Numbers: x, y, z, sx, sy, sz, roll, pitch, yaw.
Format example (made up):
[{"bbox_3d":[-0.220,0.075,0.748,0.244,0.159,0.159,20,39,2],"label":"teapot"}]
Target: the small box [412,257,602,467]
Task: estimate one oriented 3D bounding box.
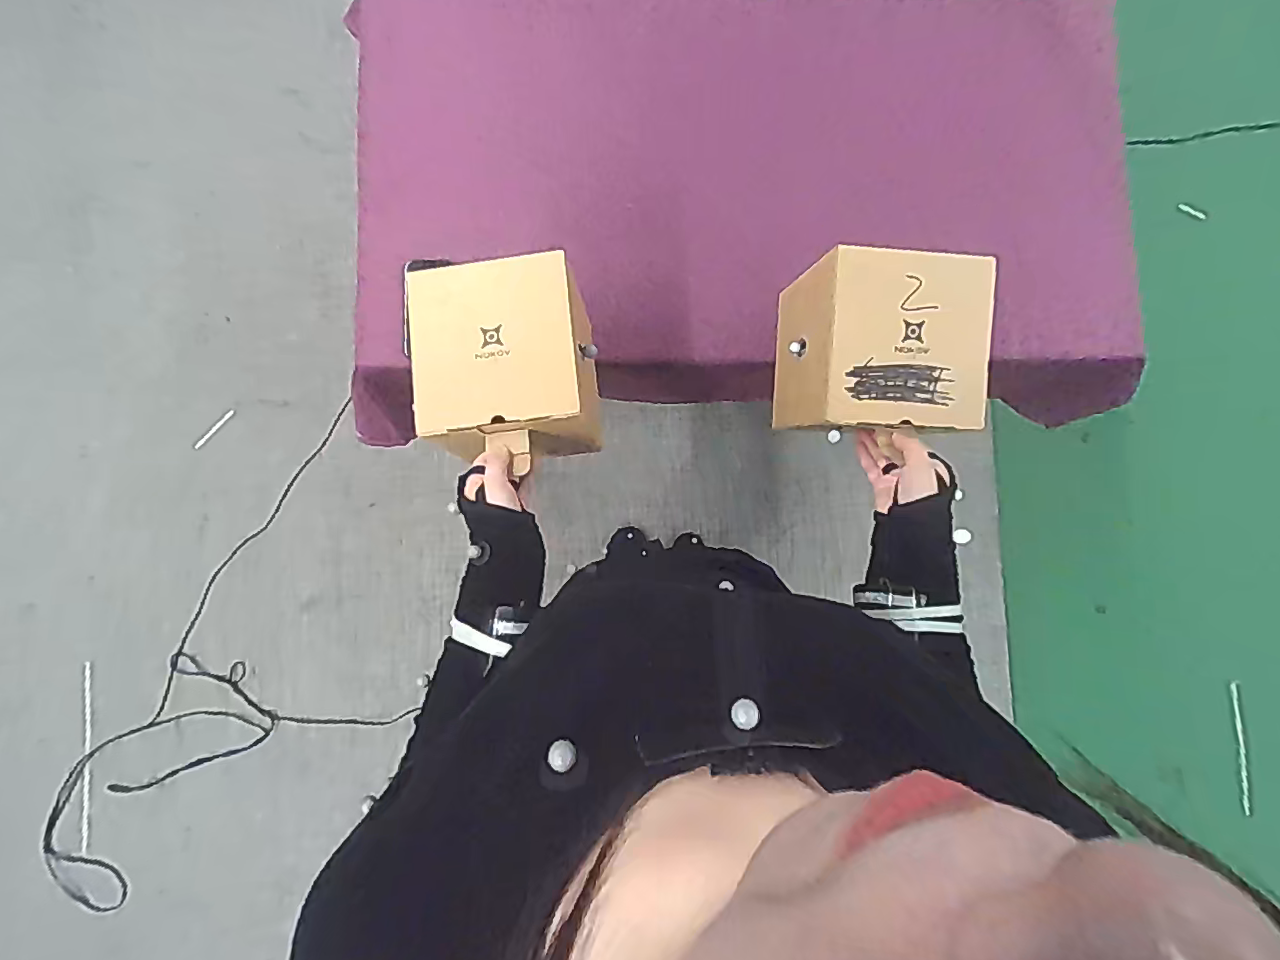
[{"bbox_3d":[-0.140,-0.121,0.616,0.168,0.176,0.179,-7,82,2],"label":"small box"}]
